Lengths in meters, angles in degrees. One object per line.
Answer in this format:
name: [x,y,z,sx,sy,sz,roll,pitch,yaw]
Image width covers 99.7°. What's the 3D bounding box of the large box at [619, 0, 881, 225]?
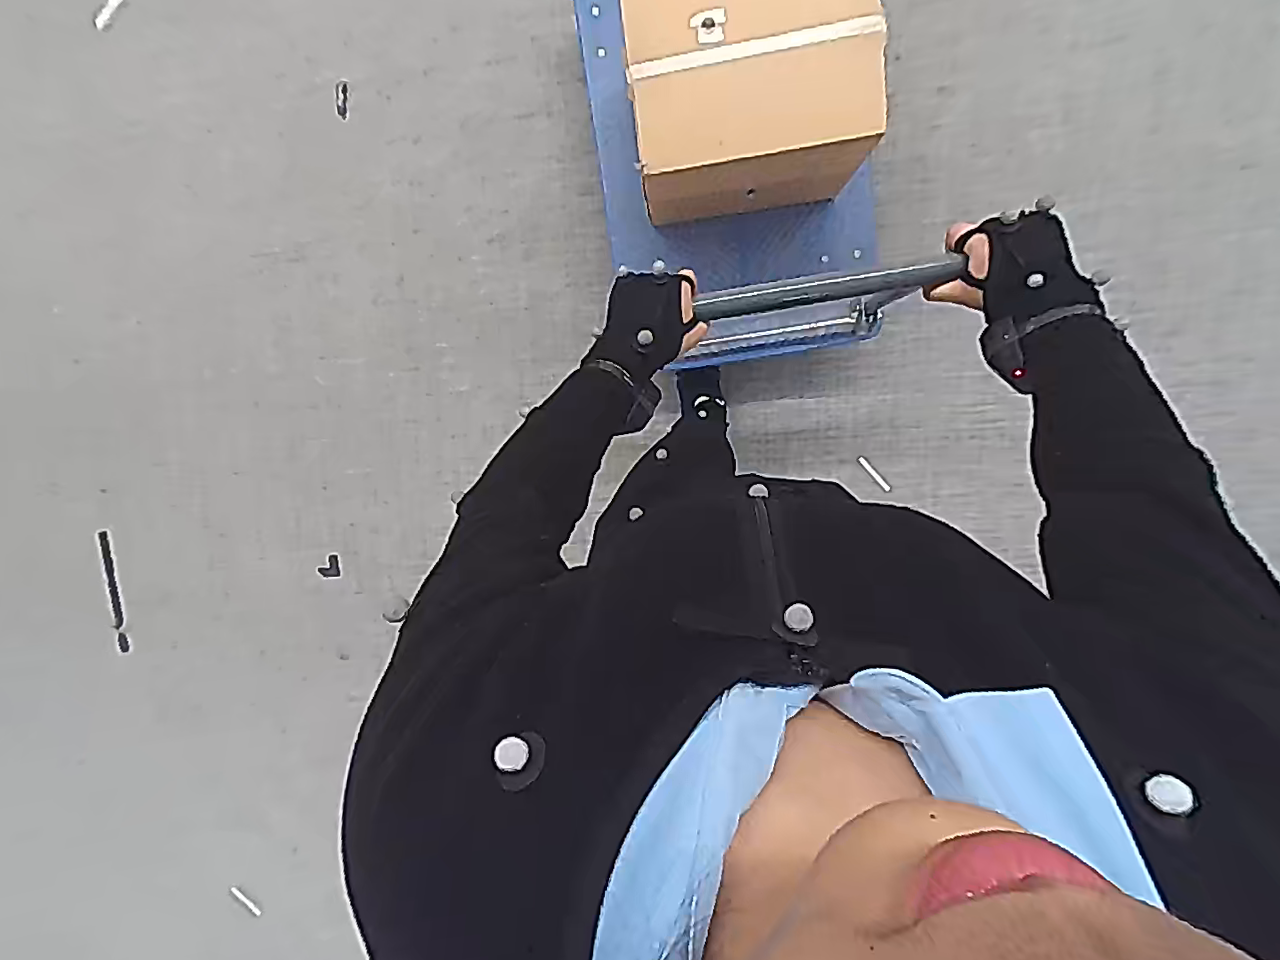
large box: [0.196,-0.724,1.034,0.408,0.320,0.320,-7,98,7]
